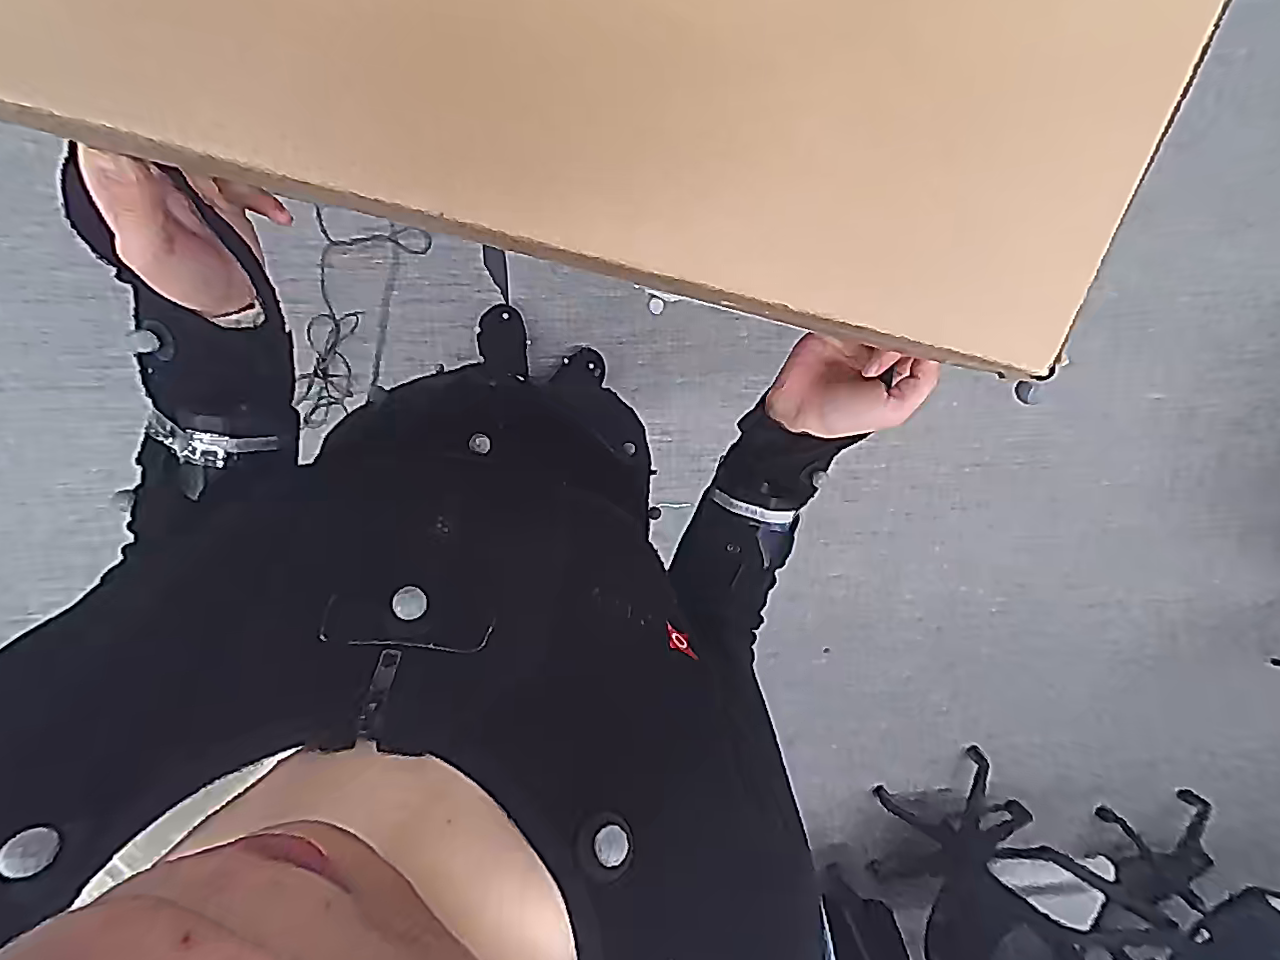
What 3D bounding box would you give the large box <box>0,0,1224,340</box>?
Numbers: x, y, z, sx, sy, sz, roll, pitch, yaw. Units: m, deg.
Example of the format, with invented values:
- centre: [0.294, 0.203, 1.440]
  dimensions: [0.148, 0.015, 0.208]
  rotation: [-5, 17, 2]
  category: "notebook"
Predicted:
- centre: [-0.009, -0.280, 0.265]
  dimensions: [0.408, 0.320, 0.320]
  rotation: [9, 111, -12]
  category: "large box"
